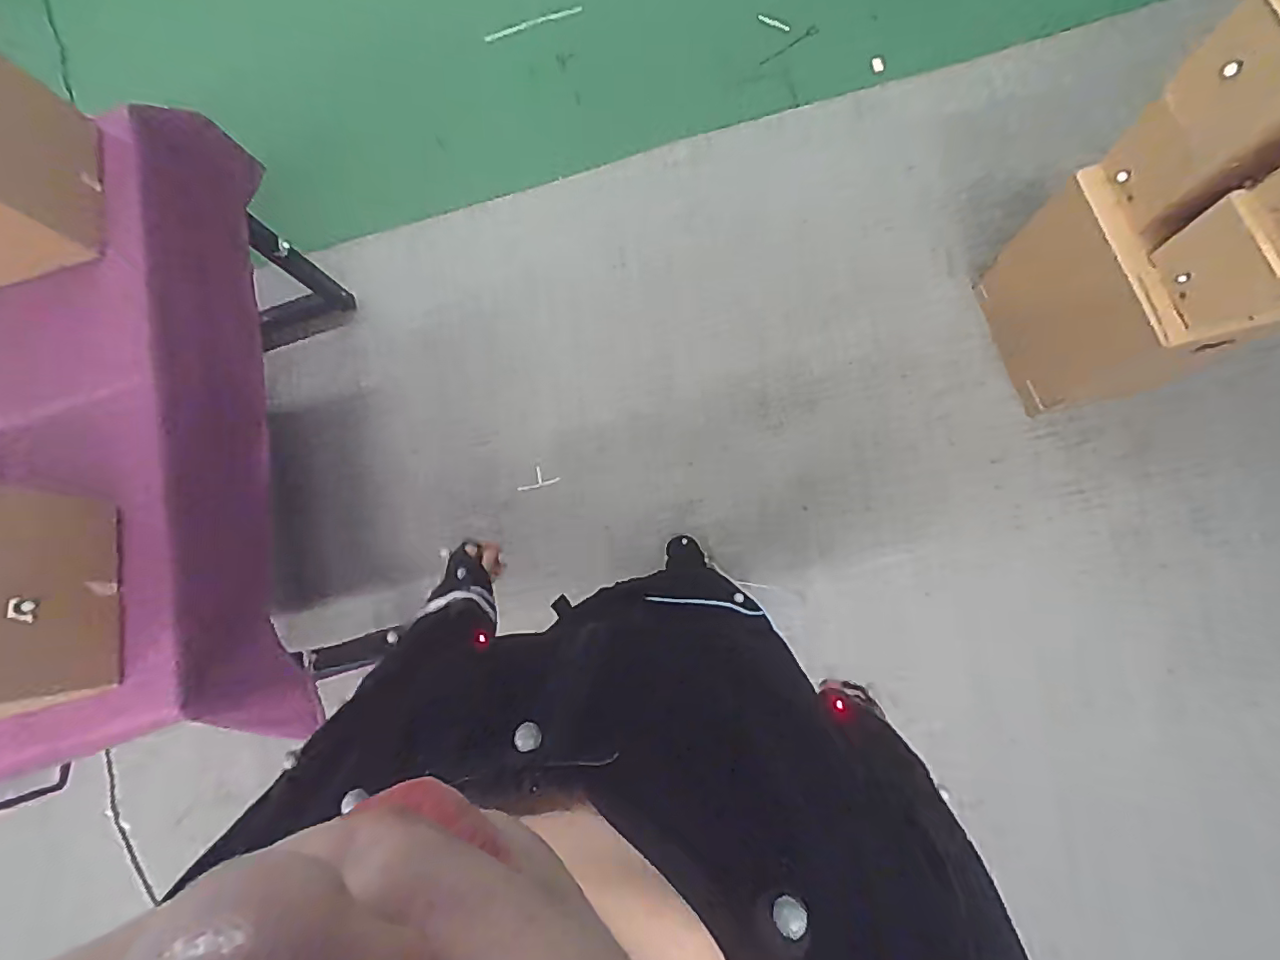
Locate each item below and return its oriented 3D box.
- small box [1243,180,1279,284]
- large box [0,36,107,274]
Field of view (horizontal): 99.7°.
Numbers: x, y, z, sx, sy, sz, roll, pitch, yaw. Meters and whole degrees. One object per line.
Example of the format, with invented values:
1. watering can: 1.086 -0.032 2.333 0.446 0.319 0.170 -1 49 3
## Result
1. small box: 1.079 -0.411 0.791 0.179 0.176 0.168 -11 76 4
2. large box: -1.254 -0.568 0.923 0.408 0.320 0.320 -13 78 3
